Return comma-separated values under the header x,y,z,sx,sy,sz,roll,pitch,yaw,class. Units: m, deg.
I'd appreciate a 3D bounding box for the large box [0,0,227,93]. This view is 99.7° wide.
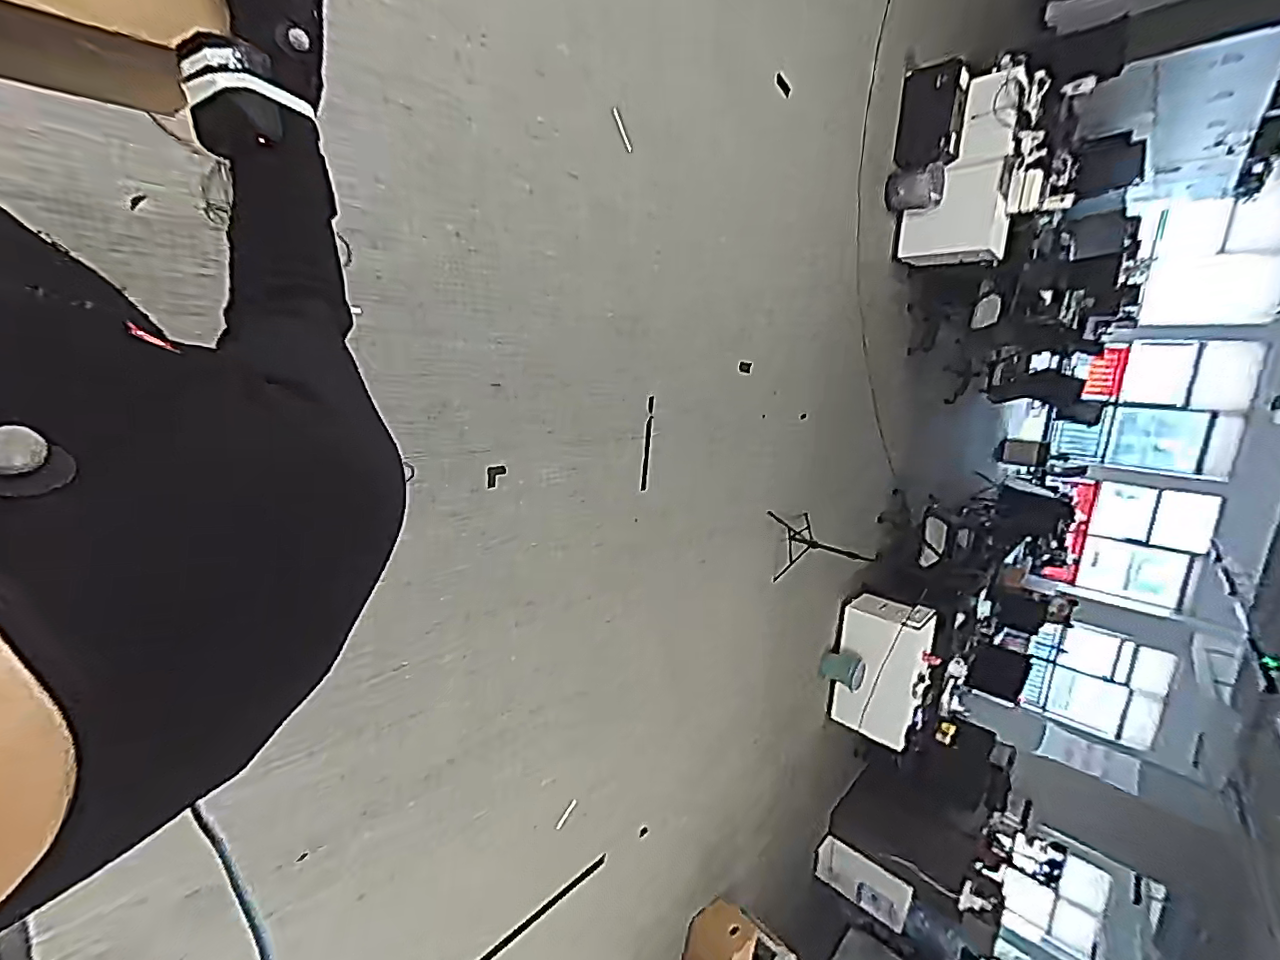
x,y,z,sx,sy,sz,roll,pitch,yaw,class
-0.541,-0.476,0.309,0.408,0.320,0.320,-15,121,-44,large box
